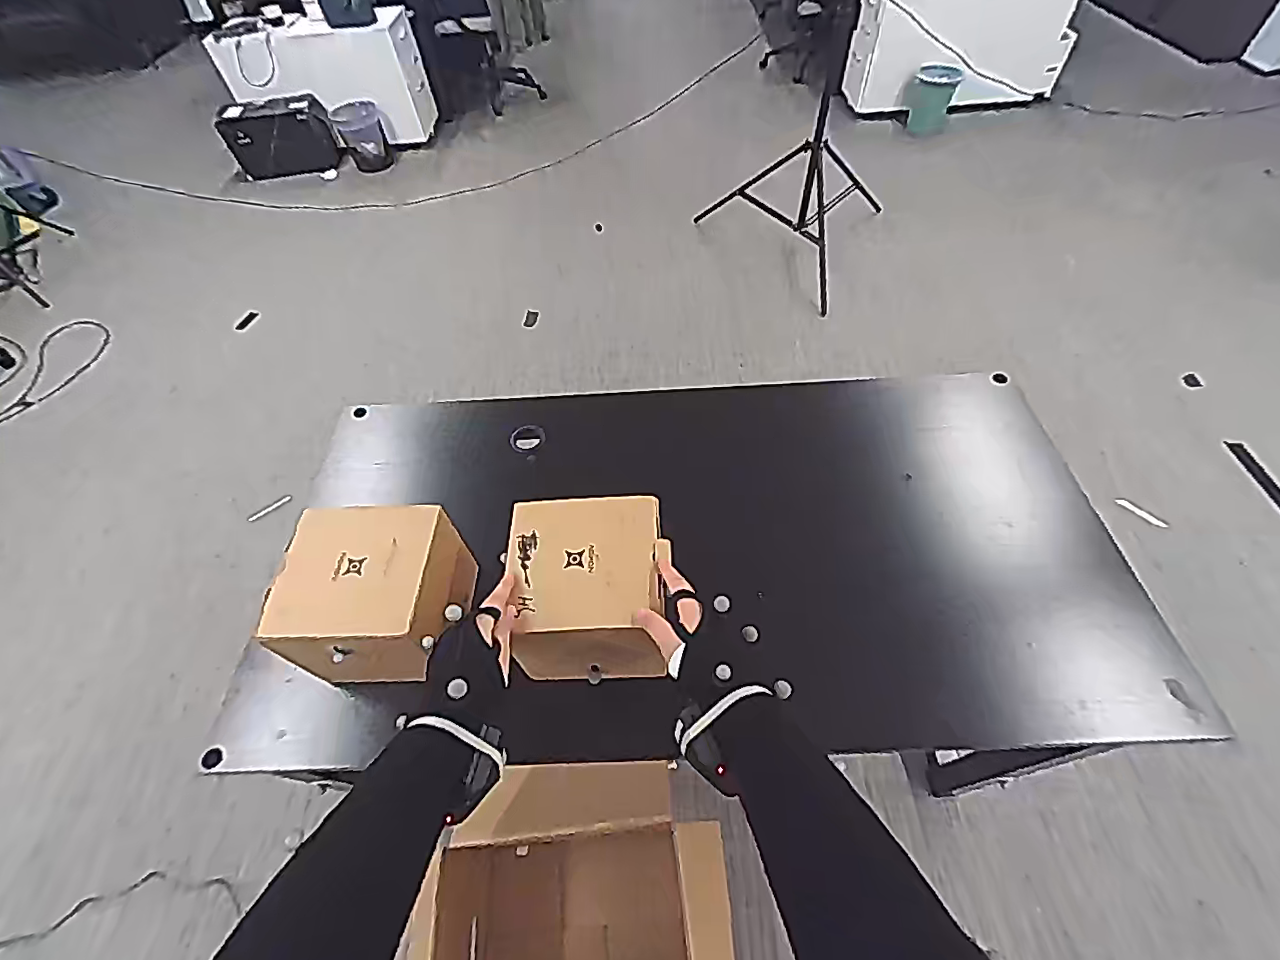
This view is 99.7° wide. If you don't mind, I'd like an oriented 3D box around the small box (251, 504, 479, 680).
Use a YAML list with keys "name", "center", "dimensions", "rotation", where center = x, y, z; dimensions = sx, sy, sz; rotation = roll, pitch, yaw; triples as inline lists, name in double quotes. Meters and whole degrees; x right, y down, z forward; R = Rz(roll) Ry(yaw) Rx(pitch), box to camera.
- name: "small box"
  center: [-0.322, 0.145, 0.676]
  dimensions: [0.179, 0.176, 0.168]
  rotation: [-2, 55, 1]

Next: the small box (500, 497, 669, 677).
- name: "small box"
  center: [-0.056, 0.136, 0.665]
  dimensions: [0.179, 0.176, 0.168]
  rotation: [-2, 53, 1]
